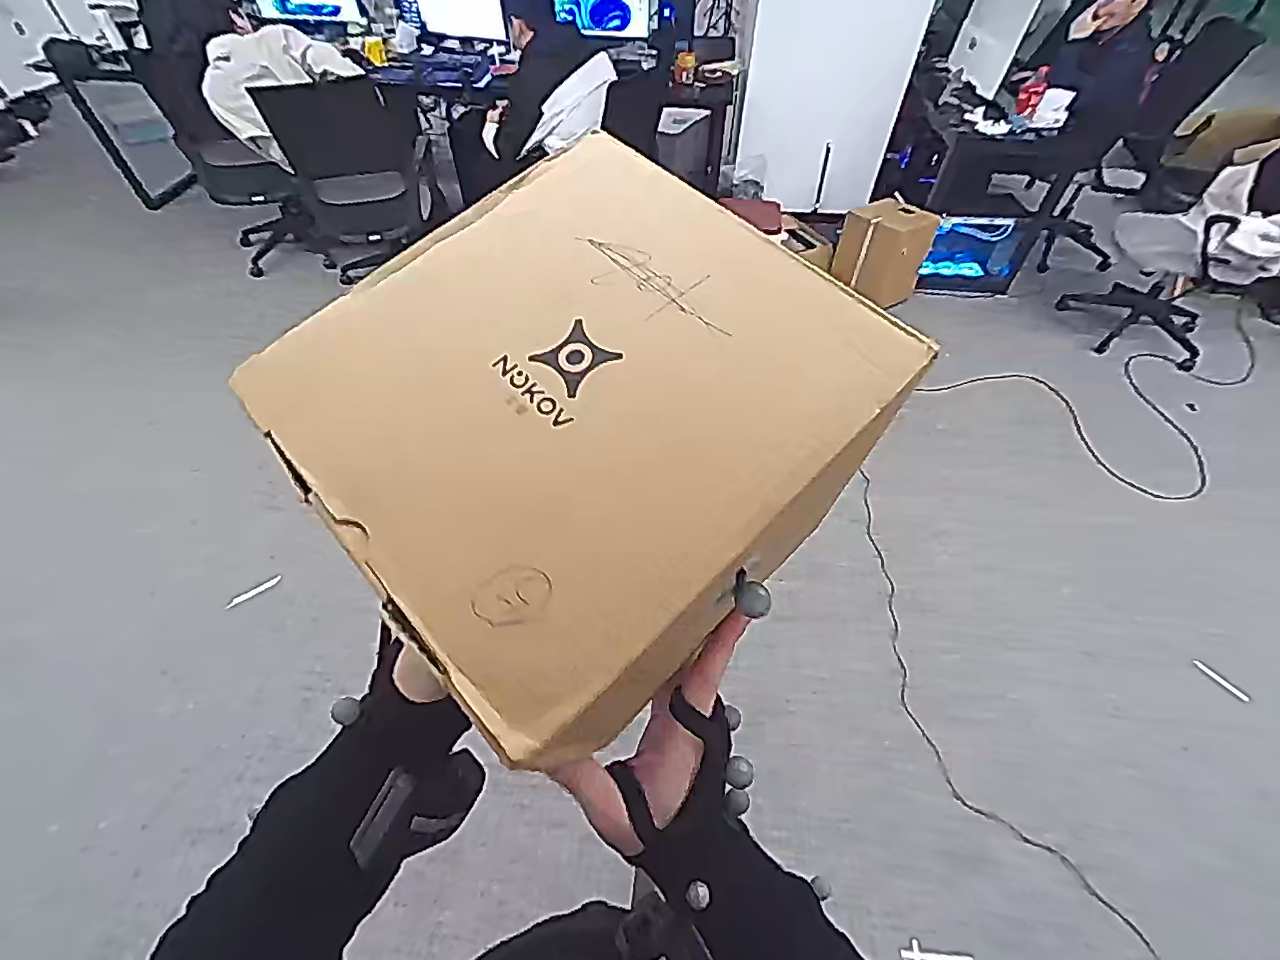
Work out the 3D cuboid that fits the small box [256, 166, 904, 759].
[{"bbox_3d":[-0.019,0.002,0.263,0.179,0.176,0.168,-42,70,-14],"label":"small box"}]
